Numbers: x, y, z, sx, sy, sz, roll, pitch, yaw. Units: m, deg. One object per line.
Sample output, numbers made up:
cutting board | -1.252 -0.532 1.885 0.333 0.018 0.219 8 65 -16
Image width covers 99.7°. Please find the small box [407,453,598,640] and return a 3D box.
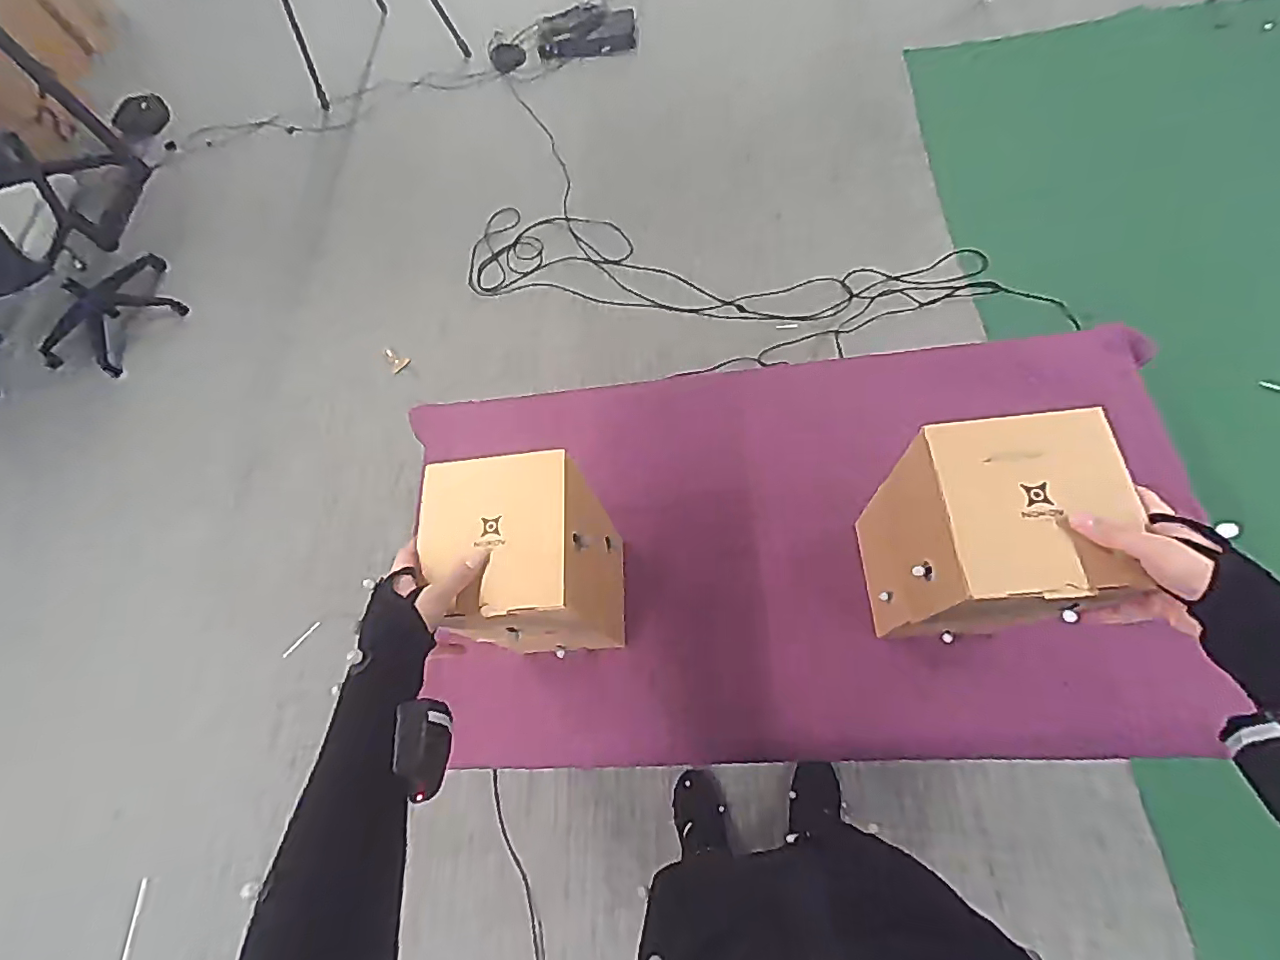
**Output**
small box | -0.149 0.088 0.647 0.168 0.176 0.179 -7 67 7

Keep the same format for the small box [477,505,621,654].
small box | -0.124 0.152 0.794 0.168 0.176 0.179 -6 66 8

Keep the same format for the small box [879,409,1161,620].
small box | 0.368 0.049 0.568 0.168 0.176 0.179 -5 66 8
